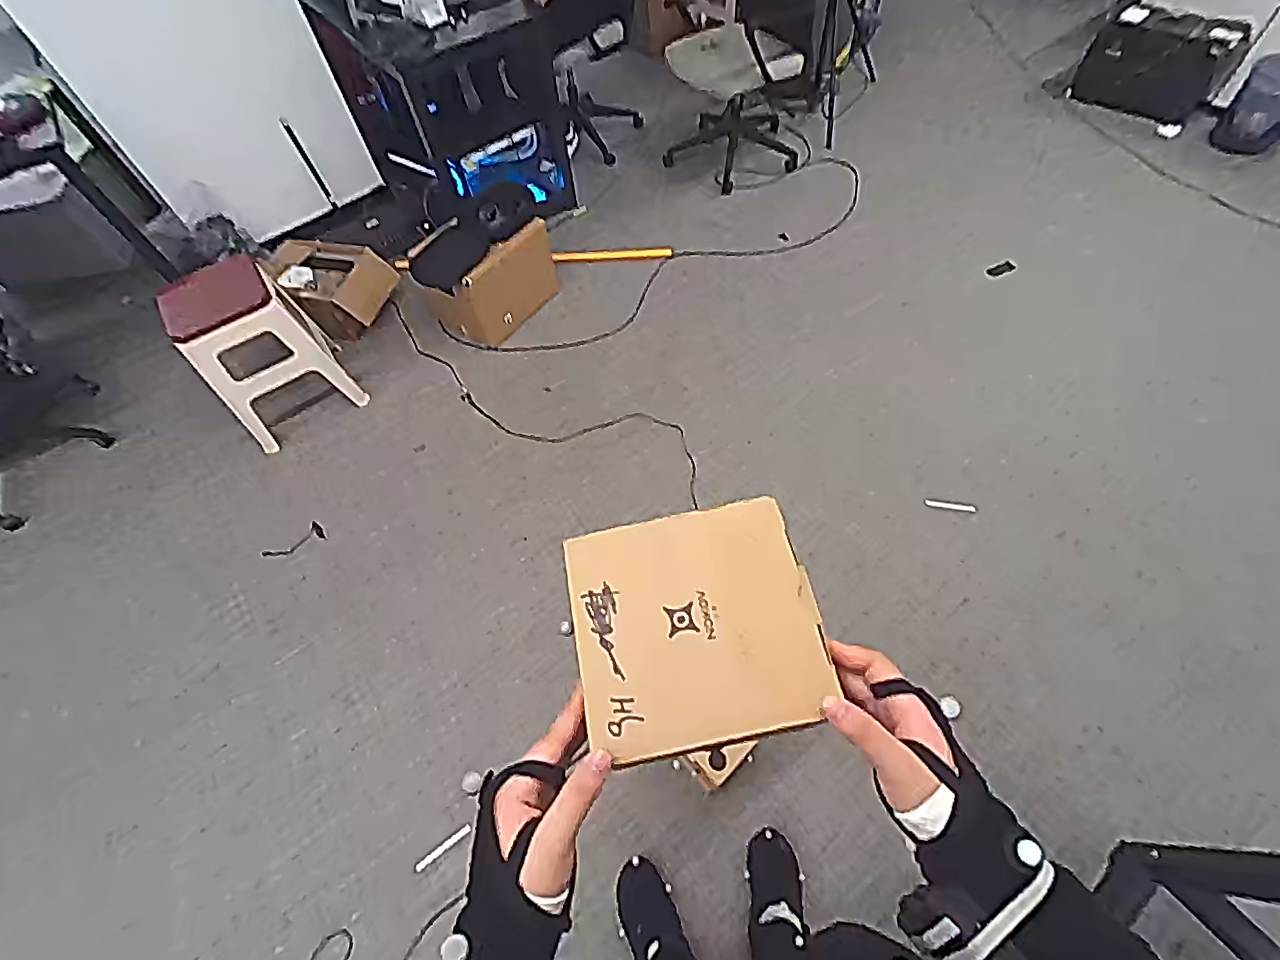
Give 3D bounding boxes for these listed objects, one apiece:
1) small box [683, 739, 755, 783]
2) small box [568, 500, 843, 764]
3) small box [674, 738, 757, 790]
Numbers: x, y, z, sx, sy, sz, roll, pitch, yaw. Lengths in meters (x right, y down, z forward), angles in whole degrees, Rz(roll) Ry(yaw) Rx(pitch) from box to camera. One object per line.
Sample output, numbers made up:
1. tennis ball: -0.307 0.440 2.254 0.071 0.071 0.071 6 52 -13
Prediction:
1. small box: 0.151 0.500 1.122 0.179 0.176 0.168 -40 64 -19
2. small box: 0.044 0.139 0.470 0.179 0.176 0.168 -11 60 -2
3. small box: 0.157 0.589 1.258 0.179 0.176 0.168 -38 63 -17
